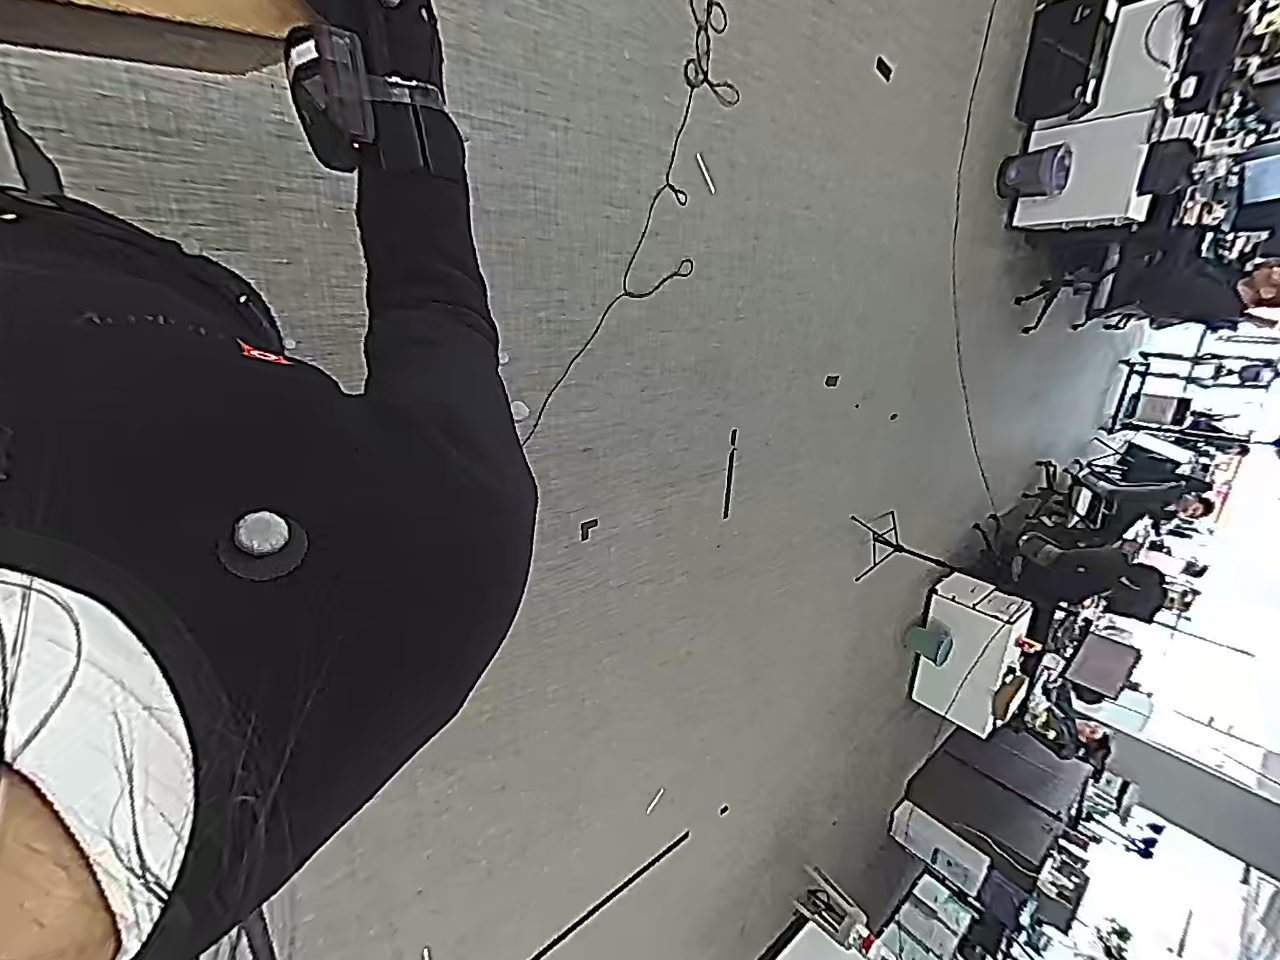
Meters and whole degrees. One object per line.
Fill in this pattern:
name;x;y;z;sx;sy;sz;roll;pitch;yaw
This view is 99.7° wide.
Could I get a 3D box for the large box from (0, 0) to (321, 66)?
large box;-0.443;-0.419;0.249;0.408;0.320;0.320;-21;130;-37
